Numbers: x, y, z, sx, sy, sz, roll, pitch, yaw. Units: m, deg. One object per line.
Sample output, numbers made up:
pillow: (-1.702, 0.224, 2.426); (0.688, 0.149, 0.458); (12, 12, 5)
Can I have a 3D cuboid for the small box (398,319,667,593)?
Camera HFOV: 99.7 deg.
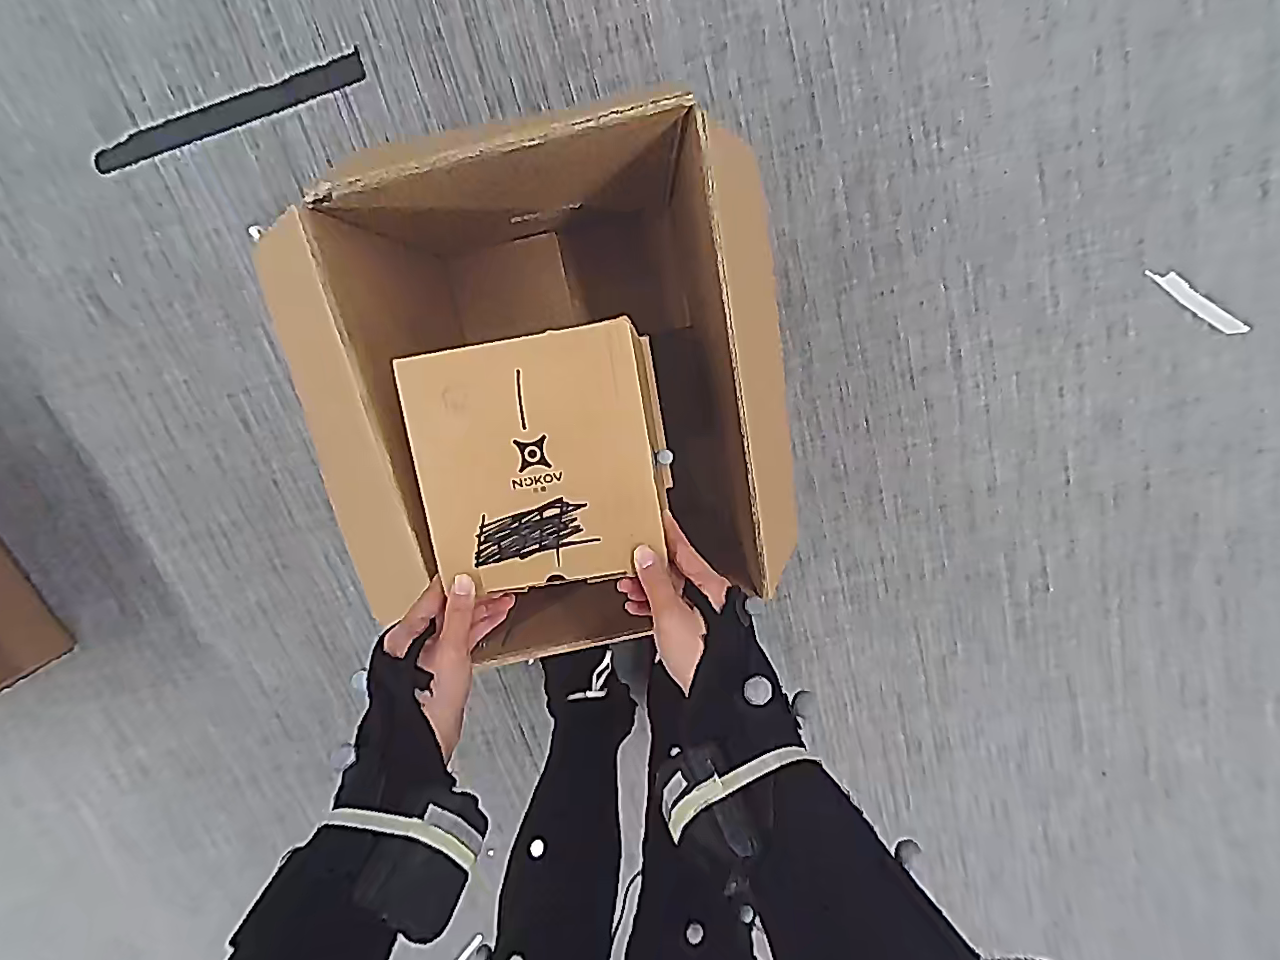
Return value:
small box: (-0.069, -0.024, 0.457); (0.168, 0.176, 0.179); (-9, 97, 4)
